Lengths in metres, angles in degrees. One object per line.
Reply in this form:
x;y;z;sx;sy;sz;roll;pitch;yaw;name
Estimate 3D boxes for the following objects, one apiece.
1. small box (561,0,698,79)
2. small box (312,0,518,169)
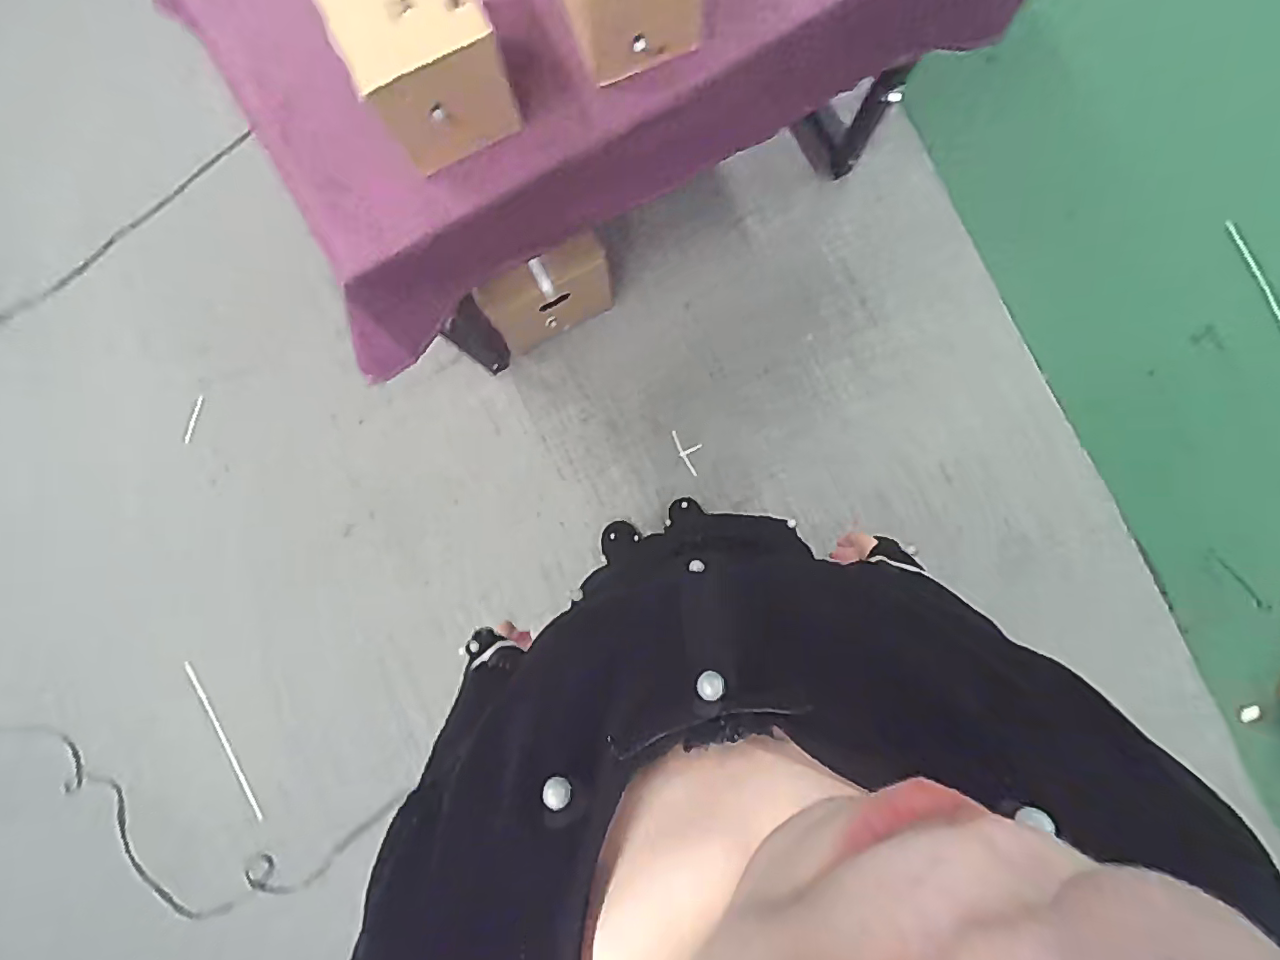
-0.027;-0.702;0.728;0.168;0.176;0.179;-21;89;1;small box
-0.291;-0.565;0.727;0.179;0.176;0.168;-26;89;1;small box
